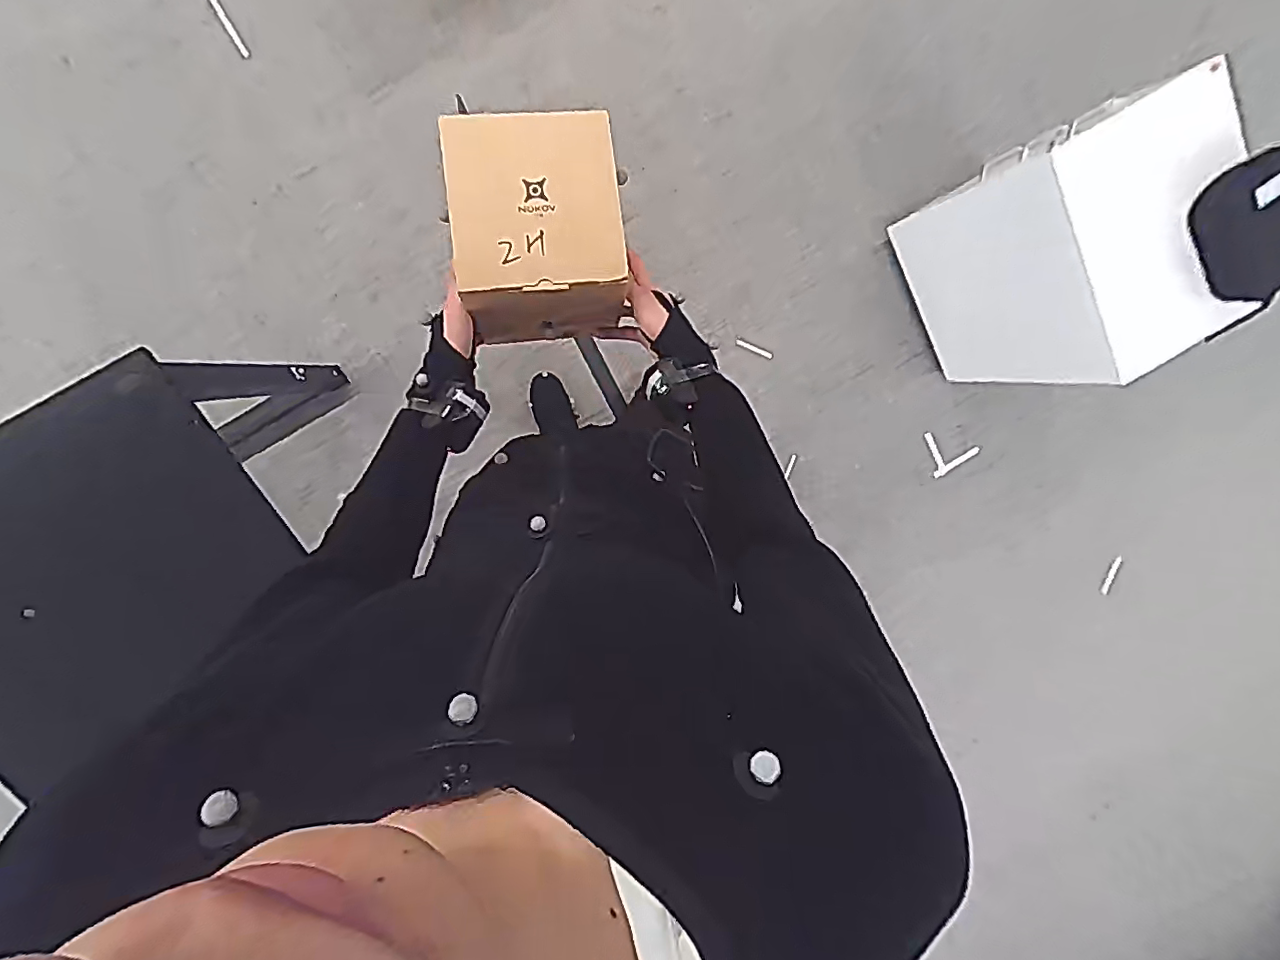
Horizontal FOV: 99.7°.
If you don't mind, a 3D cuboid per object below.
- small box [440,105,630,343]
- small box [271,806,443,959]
[{"bbox_3d":[-0.109,-0.266,0.591,0.168,0.176,0.179,-7,87,-7],"label":"small box"},{"bbox_3d":[-0.446,0.689,0.893,0.179,0.176,0.168,-25,103,-3],"label":"small box"}]
